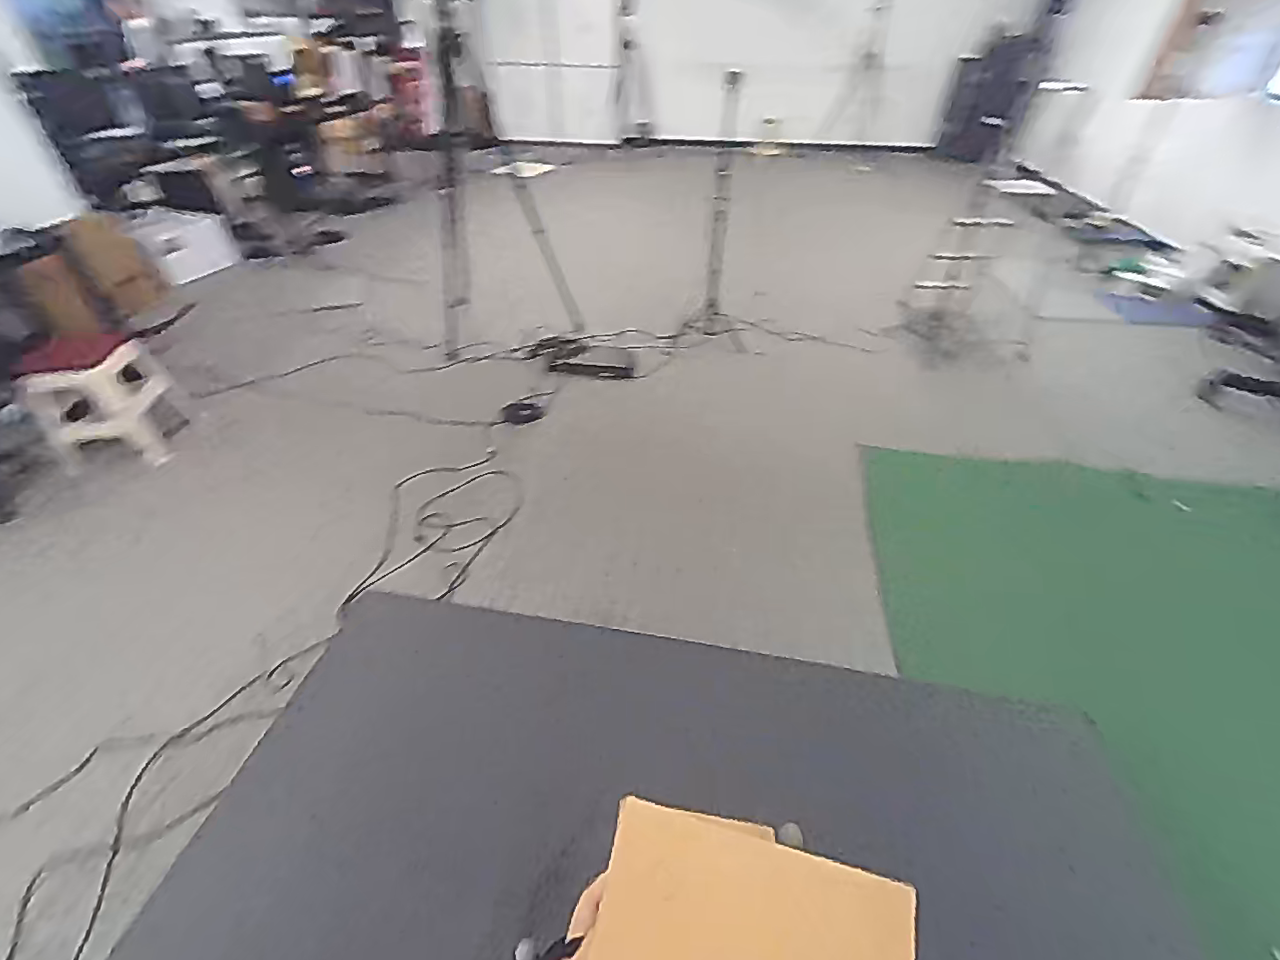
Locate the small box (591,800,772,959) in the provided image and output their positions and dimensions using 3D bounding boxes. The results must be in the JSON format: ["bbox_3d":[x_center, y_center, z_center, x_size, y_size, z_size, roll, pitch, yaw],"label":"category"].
[{"bbox_3d":[0.042,0.473,0.564,0.168,0.176,0.179,7,40,7],"label":"small box"}]

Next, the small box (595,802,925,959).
[{"bbox_3d":[0.060,0.323,0.330,0.168,0.176,0.179,10,59,16],"label":"small box"}]
